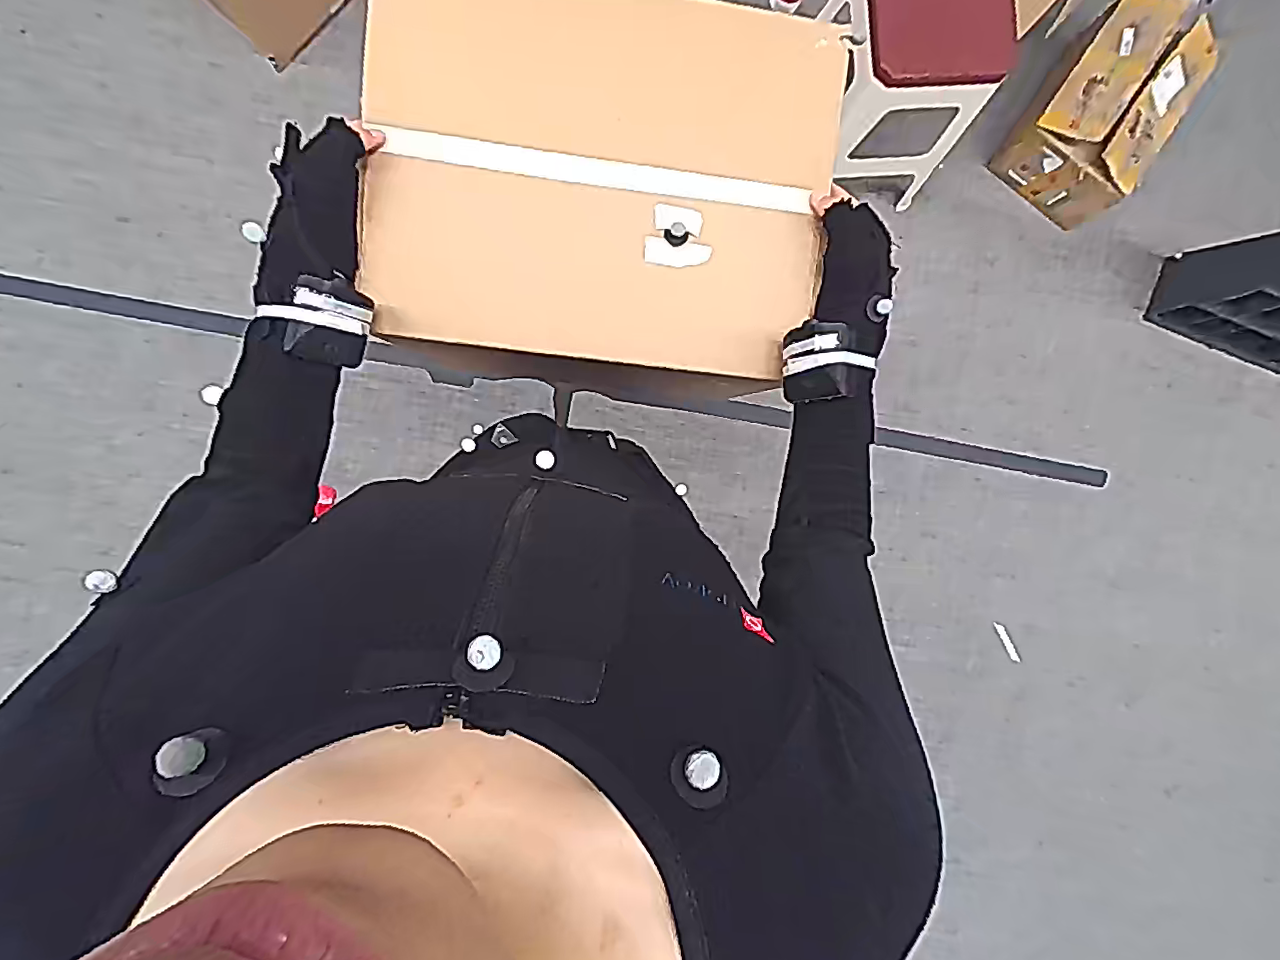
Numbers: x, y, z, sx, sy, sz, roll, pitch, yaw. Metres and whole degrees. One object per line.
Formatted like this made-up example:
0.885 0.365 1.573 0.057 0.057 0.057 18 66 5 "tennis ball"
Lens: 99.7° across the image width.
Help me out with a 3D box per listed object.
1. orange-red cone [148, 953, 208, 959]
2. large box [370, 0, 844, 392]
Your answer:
-1.191 1.351 1.245 0.198 0.360 0.199 8 92 -3 "orange-red cone"
-0.042 -0.283 0.622 0.408 0.320 0.320 5 95 -7 "large box"
